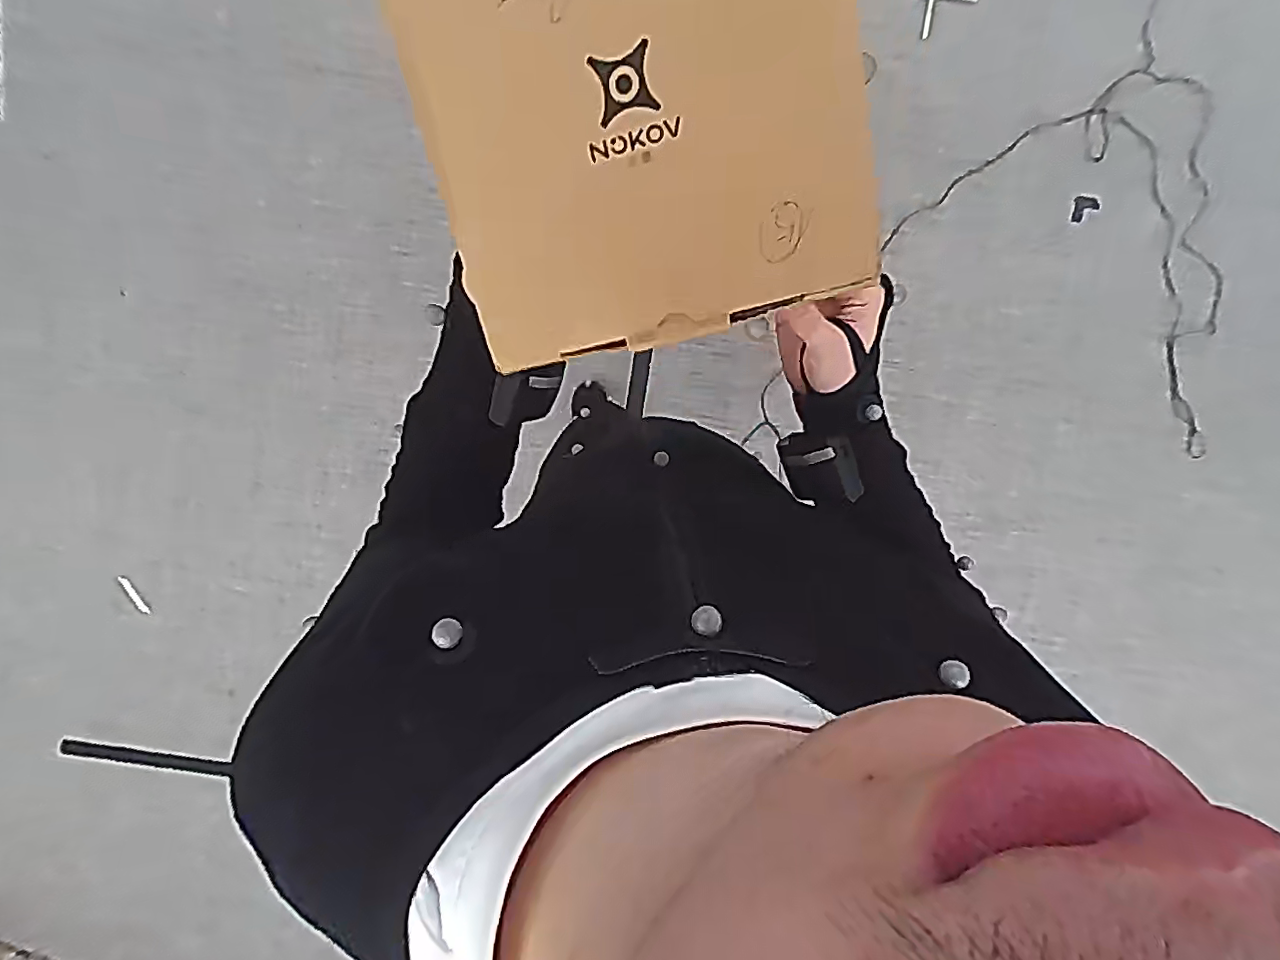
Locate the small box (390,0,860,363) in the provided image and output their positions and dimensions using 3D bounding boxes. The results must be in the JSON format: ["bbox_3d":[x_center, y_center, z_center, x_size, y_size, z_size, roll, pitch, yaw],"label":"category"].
[{"bbox_3d":[0.005,-0.175,0.288,0.168,0.176,0.179,-11,106,11],"label":"small box"}]
